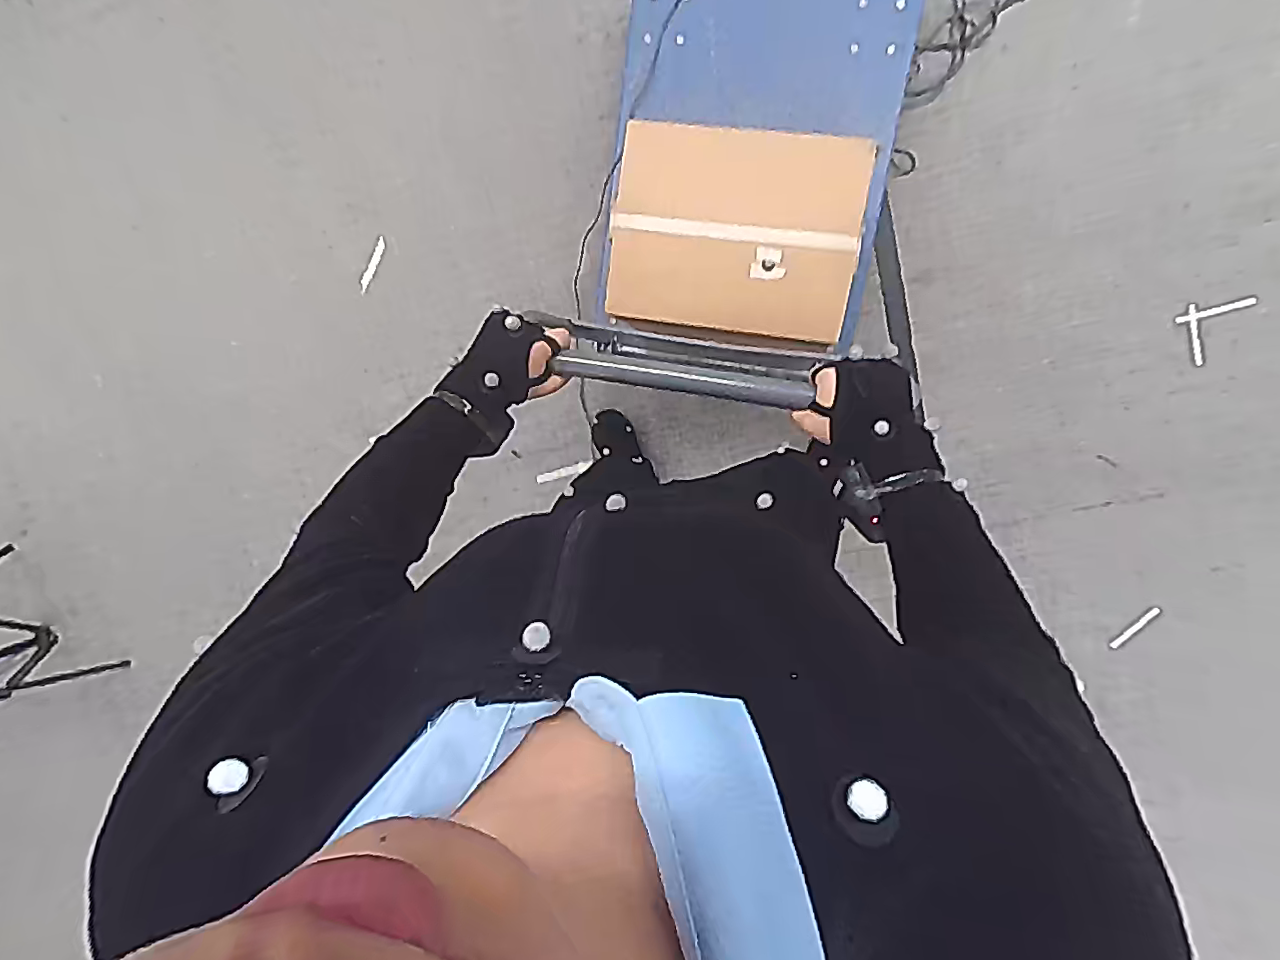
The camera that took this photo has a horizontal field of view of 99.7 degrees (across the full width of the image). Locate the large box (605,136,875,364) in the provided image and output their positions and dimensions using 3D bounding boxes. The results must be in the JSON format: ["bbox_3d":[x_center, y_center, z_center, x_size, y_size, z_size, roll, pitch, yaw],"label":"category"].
[{"bbox_3d":[0.172,-0.409,1.034,0.408,0.320,0.320,10,102,7],"label":"large box"}]
